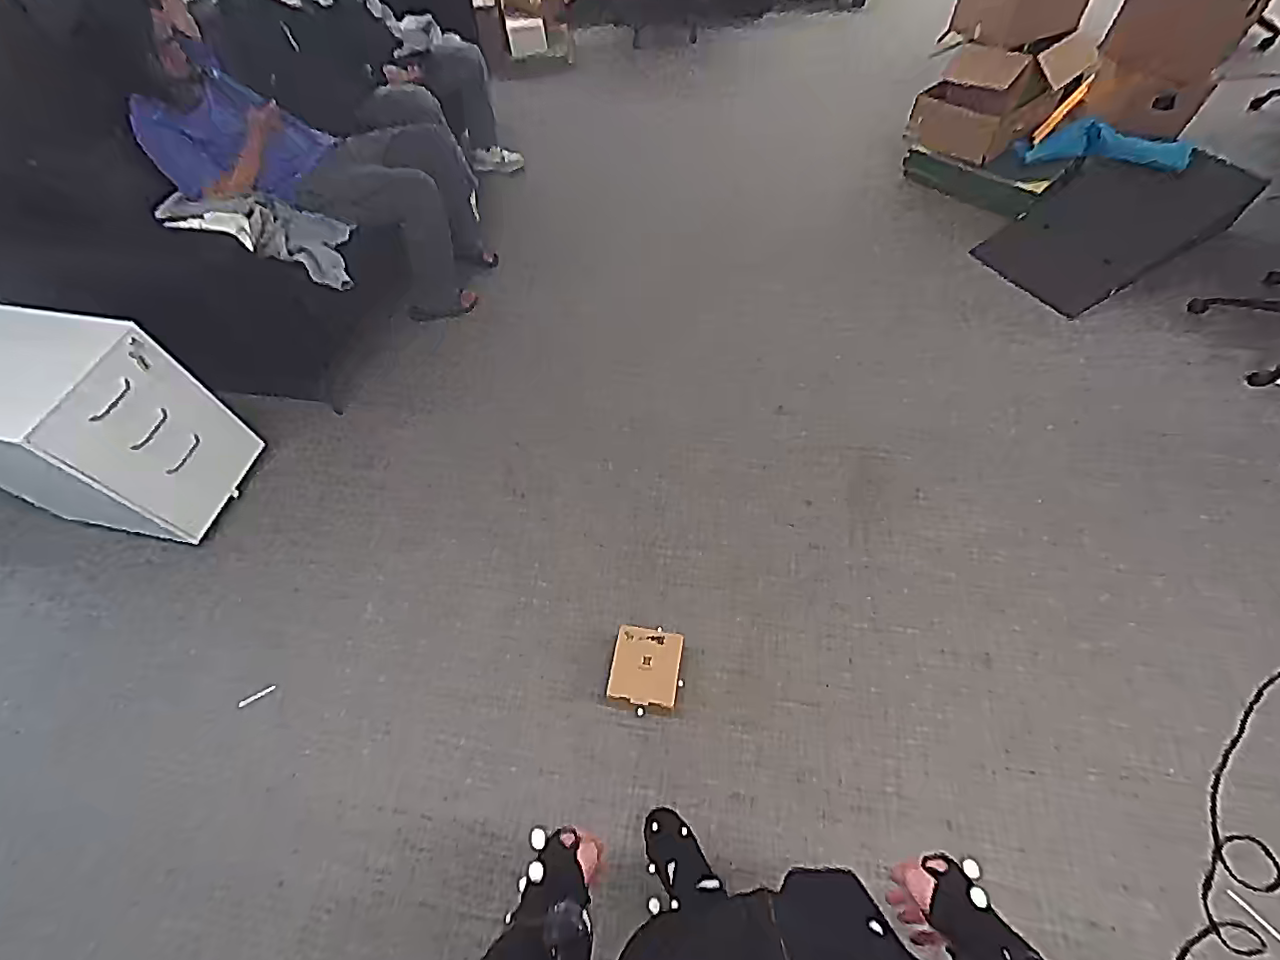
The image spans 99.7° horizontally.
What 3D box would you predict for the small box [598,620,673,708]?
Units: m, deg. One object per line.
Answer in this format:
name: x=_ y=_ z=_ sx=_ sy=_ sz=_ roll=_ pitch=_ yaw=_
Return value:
small box: x=-0.004 y=0.485 z=1.408 sx=0.168 sy=0.176 sz=0.179 roll=6 pitch=59 yaw=7
